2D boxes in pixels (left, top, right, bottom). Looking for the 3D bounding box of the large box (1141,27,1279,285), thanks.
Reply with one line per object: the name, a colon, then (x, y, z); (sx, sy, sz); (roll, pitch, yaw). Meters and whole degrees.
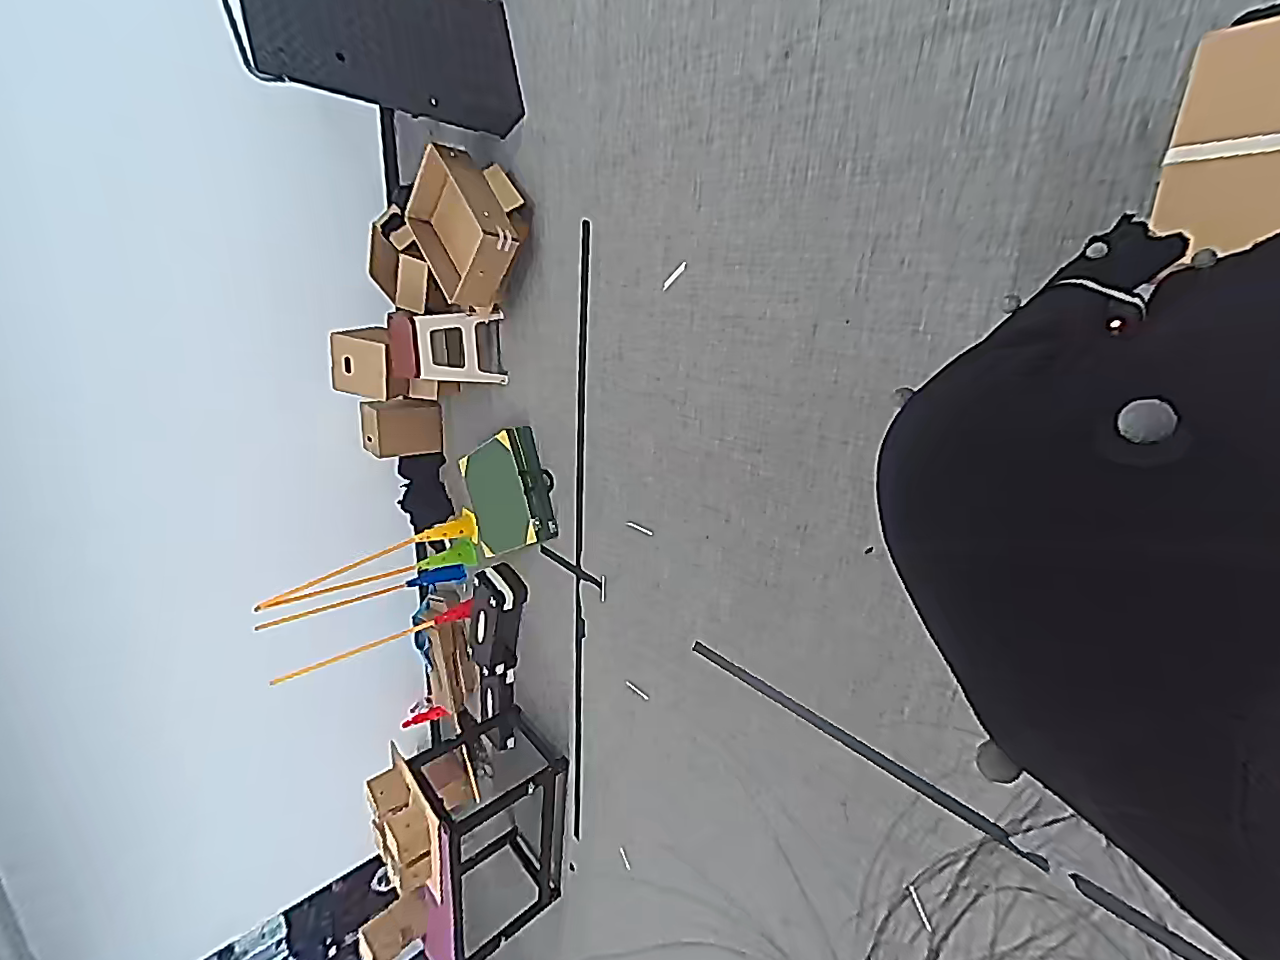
large box: (1.054, -0.468, 0.798); (0.408, 0.320, 0.320); (18, 113, 43)
